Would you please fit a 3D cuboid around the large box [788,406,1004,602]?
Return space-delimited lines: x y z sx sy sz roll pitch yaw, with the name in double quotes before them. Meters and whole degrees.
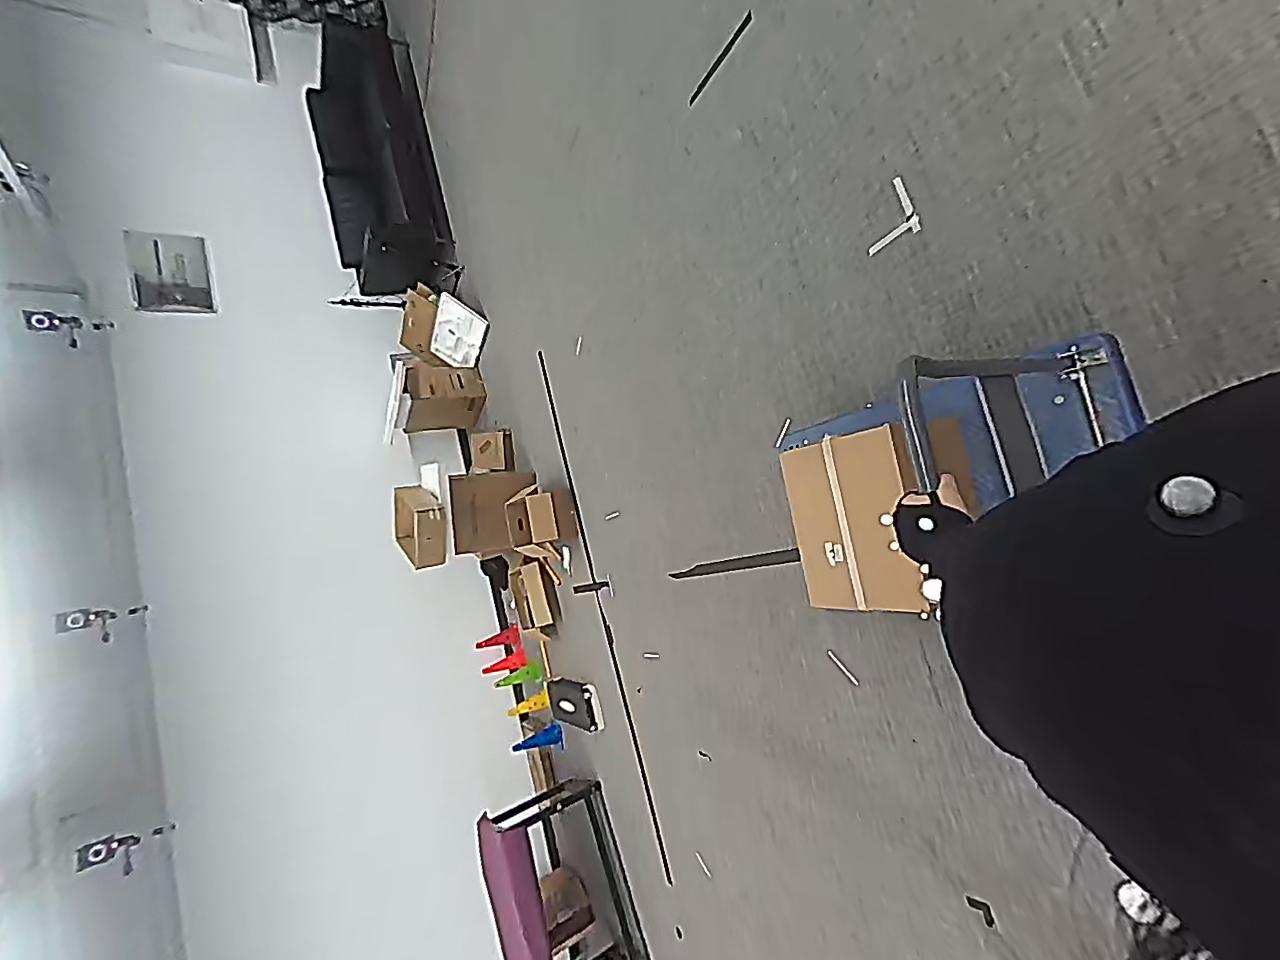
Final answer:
"large box" 0.623 0.060 1.330 0.320 0.320 0.408 -16 85 57
